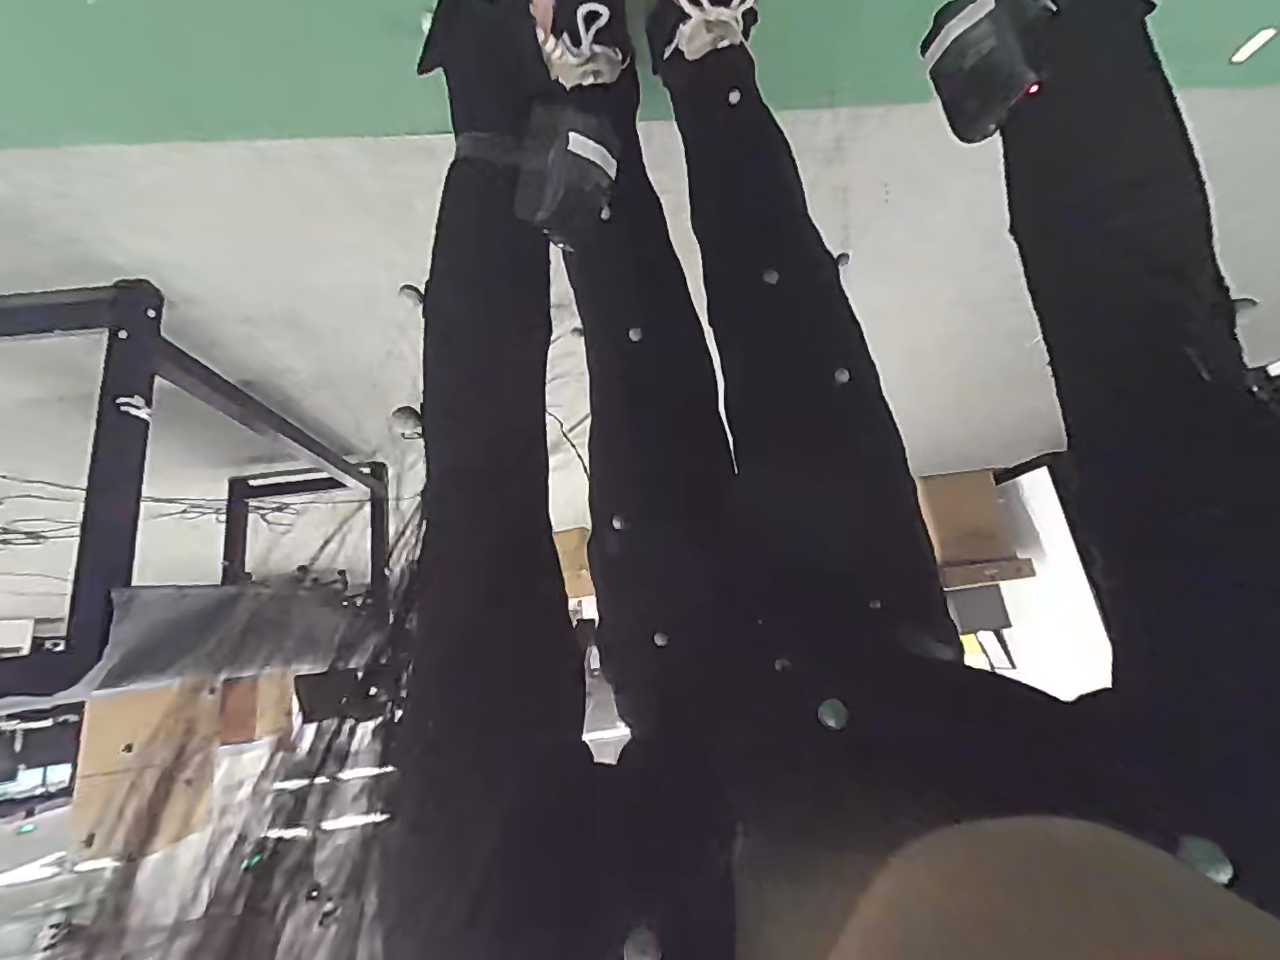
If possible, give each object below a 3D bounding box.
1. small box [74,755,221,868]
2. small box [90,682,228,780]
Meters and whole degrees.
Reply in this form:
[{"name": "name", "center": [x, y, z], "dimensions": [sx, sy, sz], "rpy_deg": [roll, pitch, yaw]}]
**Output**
[{"name": "small box", "center": [-1.074, 0.720, 1.197], "dimensions": [0.179, 0.176, 0.168], "rpy_deg": [-8, 165, -2]}, {"name": "small box", "center": [-1.080, 0.559, 1.231], "dimensions": [0.179, 0.176, 0.168], "rpy_deg": [-6, 164, -3]}]
